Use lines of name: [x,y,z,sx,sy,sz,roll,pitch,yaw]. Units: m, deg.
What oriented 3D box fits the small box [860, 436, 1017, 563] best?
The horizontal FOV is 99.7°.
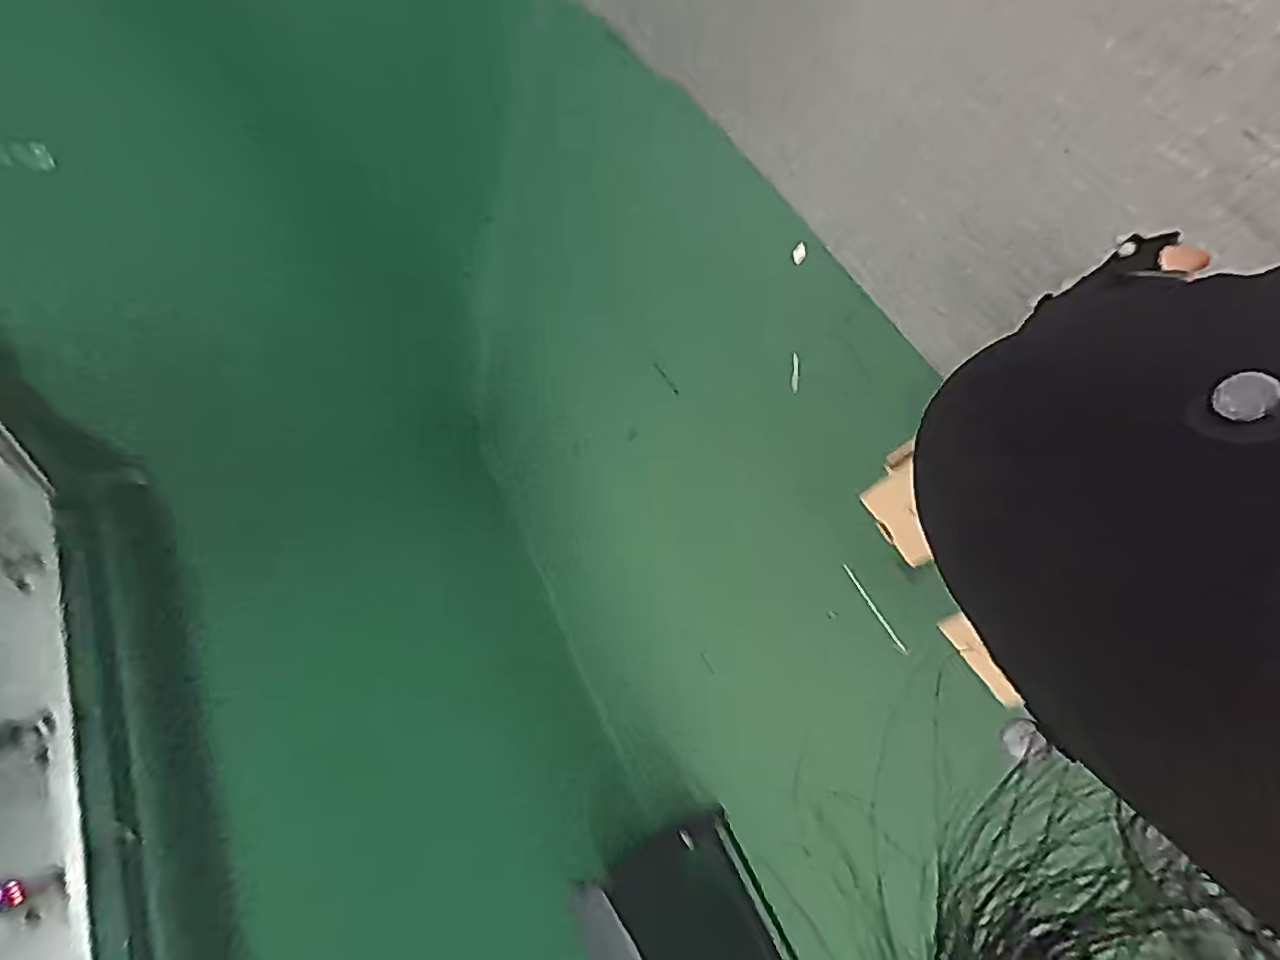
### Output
small box: [0.584,0.036,1.062,0.168,0.176,0.179,60,143,21]
